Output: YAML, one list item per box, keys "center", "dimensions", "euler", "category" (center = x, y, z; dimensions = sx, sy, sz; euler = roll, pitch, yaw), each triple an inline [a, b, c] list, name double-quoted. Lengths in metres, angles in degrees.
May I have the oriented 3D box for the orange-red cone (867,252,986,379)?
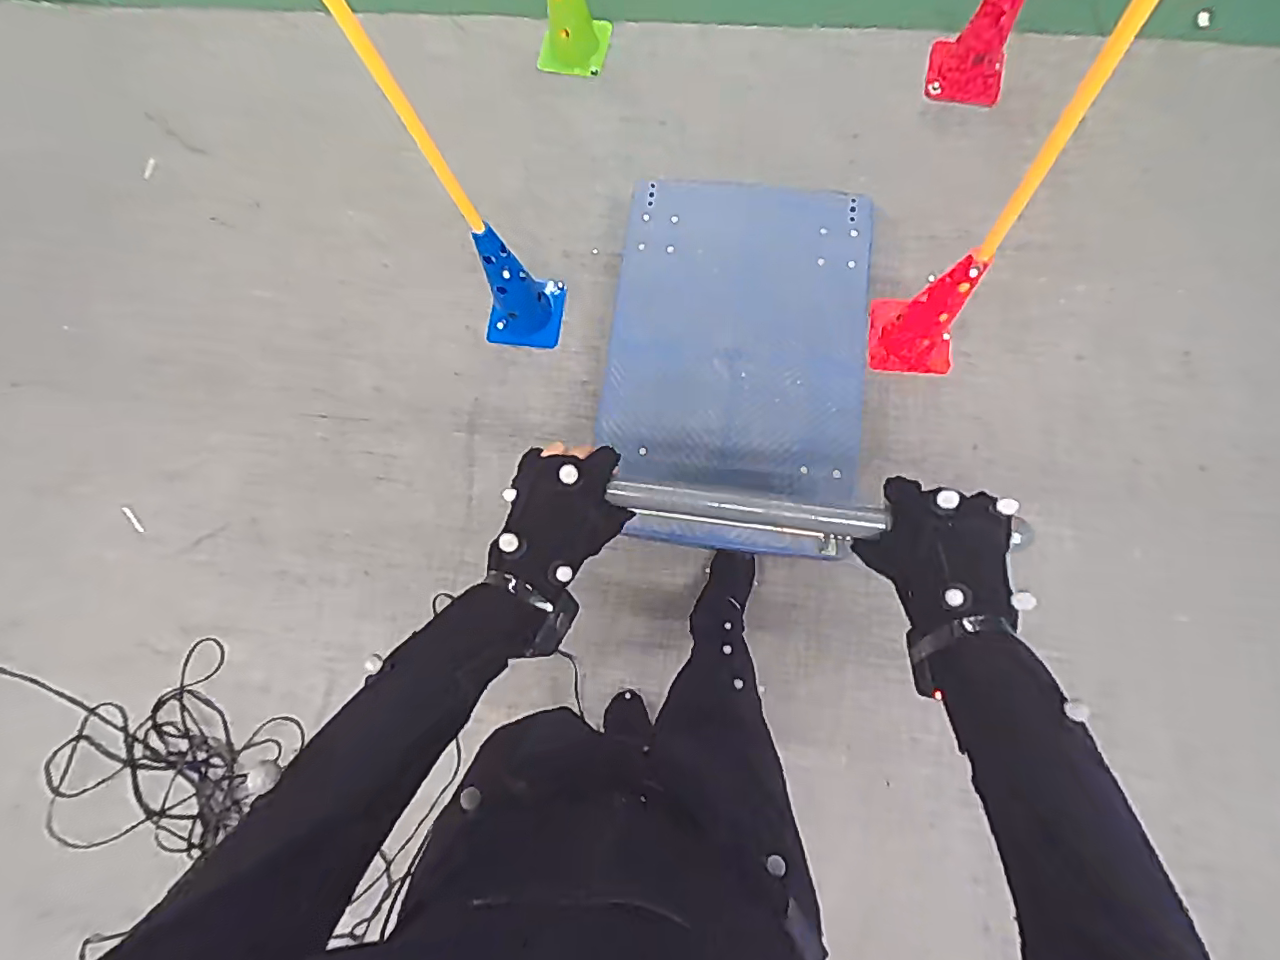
- center: [0.676, -0.394, 1.234]
  dimensions: [0.199, 0.360, 0.198]
  euler: [6, 79, 7]
  category: "orange-red cone"

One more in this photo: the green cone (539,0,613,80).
- center: [-0.209, -1.342, 1.480]
  dimensions: [0.202, 0.368, 0.200]
  euler: [11, 79, 7]
  category: "green cone"
